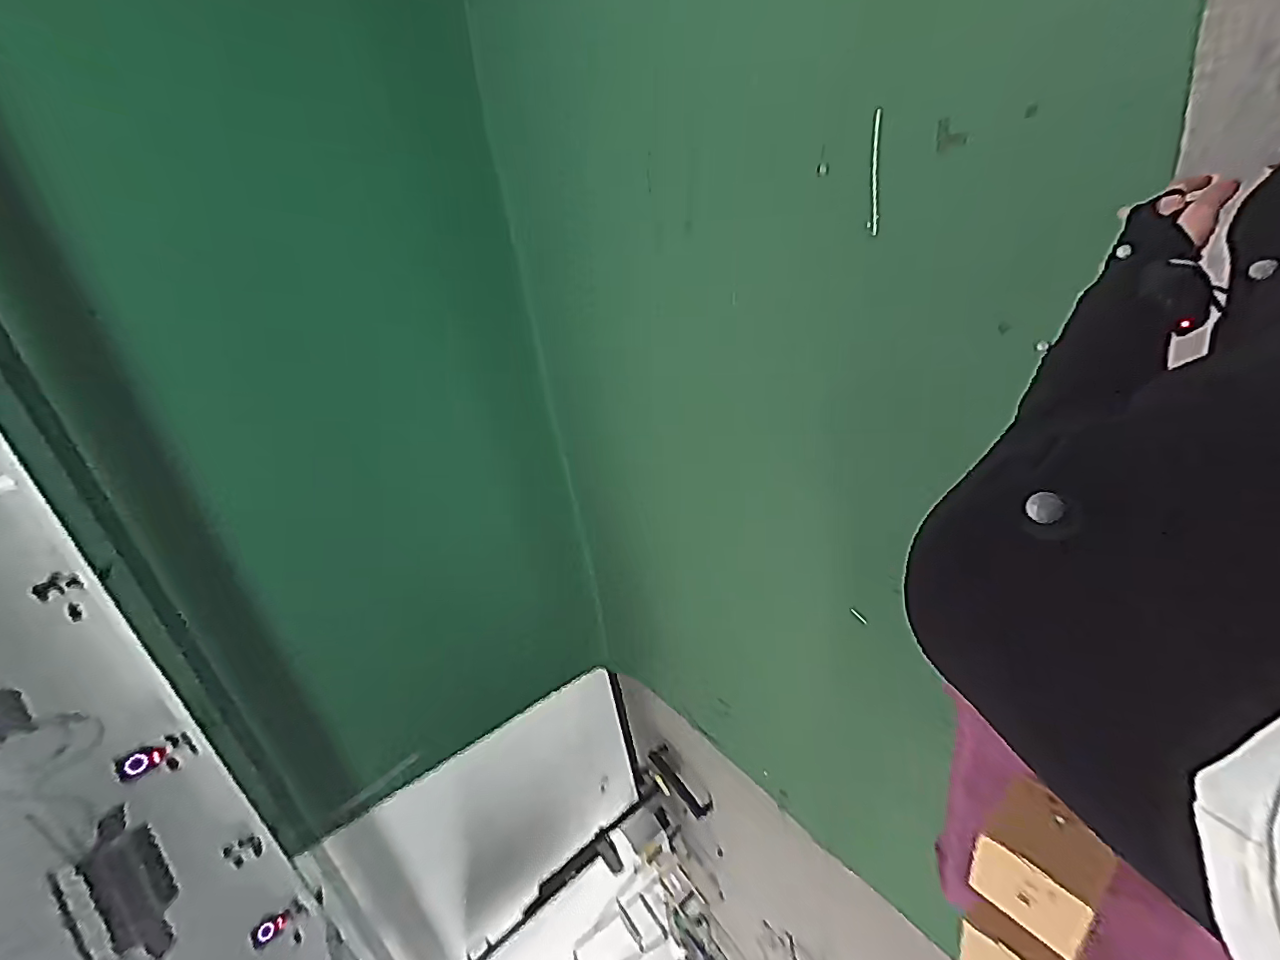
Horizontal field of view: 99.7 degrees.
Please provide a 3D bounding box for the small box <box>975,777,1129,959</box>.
[{"bbox_3d":[0.739,0.691,0.976,0.168,0.176,0.179,23,130,48],"label":"small box"}]

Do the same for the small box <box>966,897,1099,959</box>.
[{"bbox_3d":[0.786,0.945,1.087,0.168,0.176,0.179,22,127,51],"label":"small box"}]
